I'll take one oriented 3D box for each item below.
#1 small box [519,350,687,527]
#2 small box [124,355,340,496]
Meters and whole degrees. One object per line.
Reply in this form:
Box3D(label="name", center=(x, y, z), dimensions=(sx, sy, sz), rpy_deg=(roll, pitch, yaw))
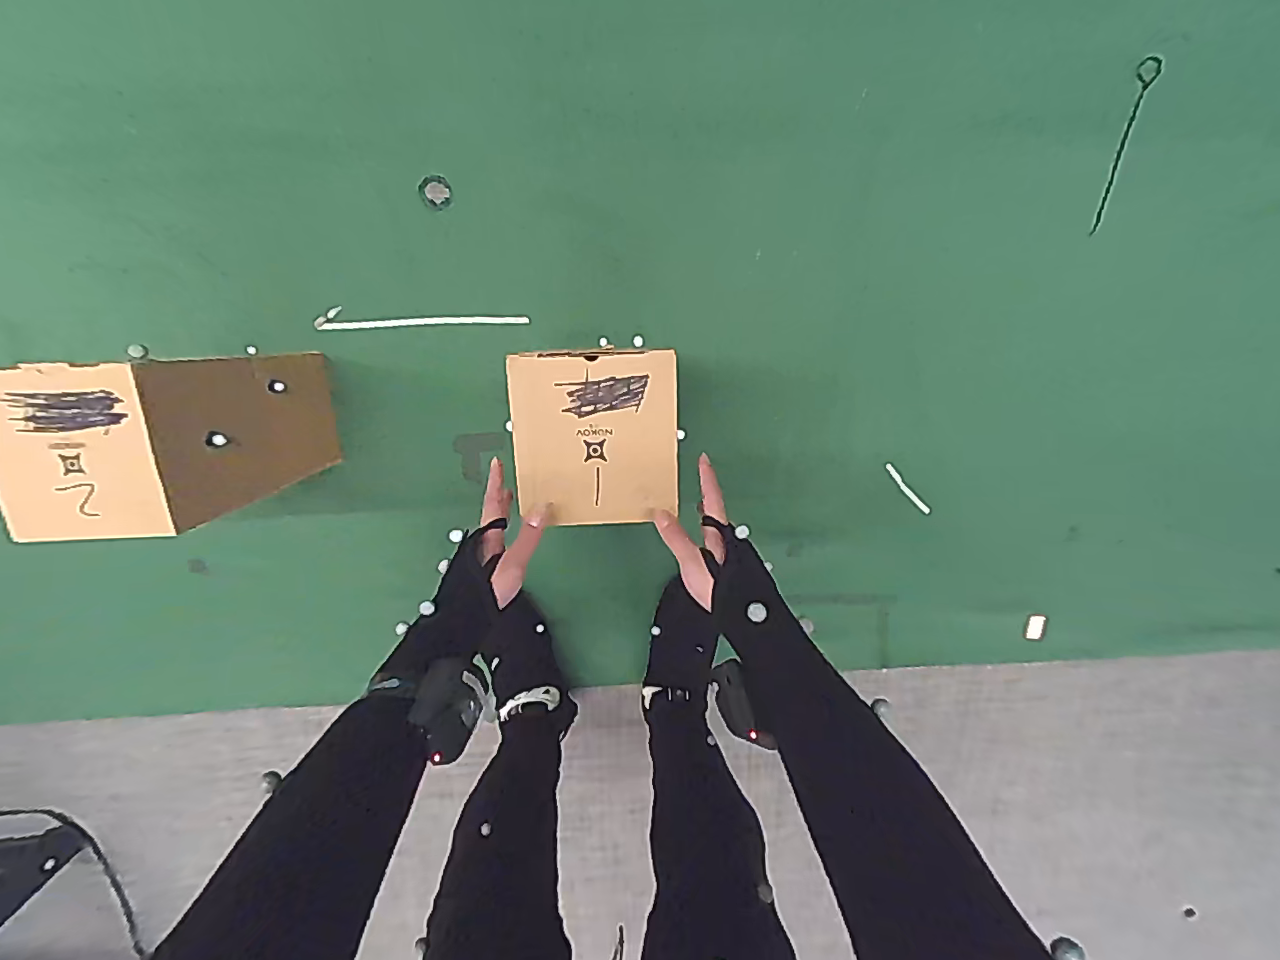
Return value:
Box3D(label="small box", center=(-0.039, -0.057, 0.616), dimensions=(0.168, 0.176, 0.179), rpy_deg=(-2, 104, -2))
Box3D(label="small box", center=(-0.550, -0.084, 0.760), dimensions=(0.168, 0.176, 0.179), rpy_deg=(-2, 103, -1))
